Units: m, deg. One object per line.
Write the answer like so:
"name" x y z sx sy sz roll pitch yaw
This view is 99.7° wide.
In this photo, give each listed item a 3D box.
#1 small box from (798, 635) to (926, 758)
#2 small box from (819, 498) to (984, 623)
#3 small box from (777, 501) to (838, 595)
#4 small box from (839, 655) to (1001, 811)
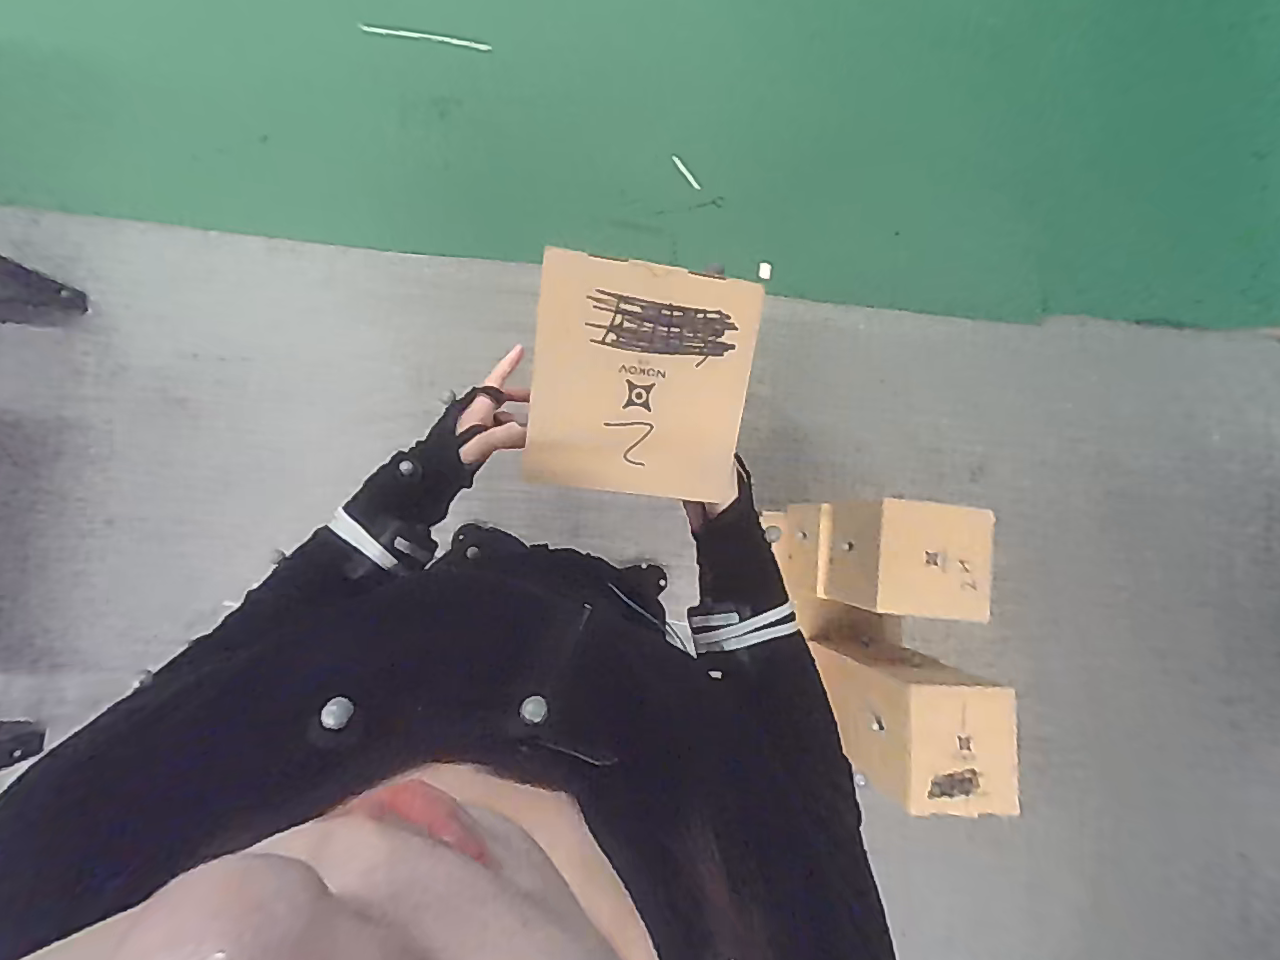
"small box" 0.409 0.400 1.016 0.168 0.176 0.179 4 84 -7
"small box" 0.407 0.123 0.868 0.179 0.176 0.168 8 86 -7
"small box" 0.374 0.133 1.029 0.179 0.176 0.168 6 86 -7
"small box" 0.430 0.389 0.853 0.168 0.176 0.179 5 83 -7
